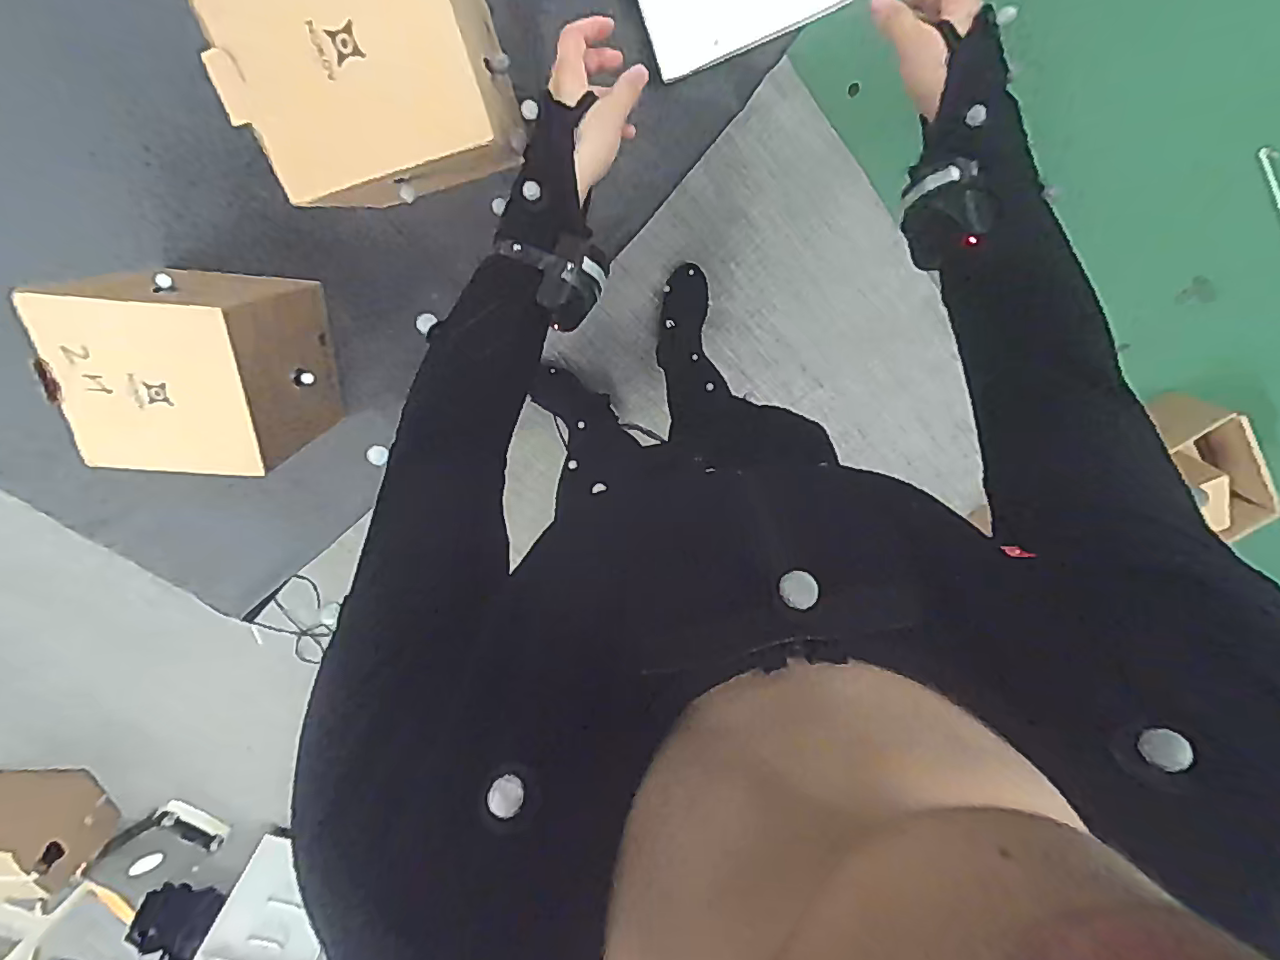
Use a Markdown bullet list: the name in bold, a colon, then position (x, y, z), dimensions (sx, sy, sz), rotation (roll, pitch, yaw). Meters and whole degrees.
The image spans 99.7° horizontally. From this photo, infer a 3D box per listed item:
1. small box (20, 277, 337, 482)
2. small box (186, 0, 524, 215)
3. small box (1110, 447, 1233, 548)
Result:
- **small box**: position (-0.445, -0.112, 0.566), dimensions (0.179, 0.176, 0.168), rotation (4, 117, -2)
- **small box**: position (-0.209, -0.336, 0.450), dimensions (0.179, 0.176, 0.168), rotation (-13, 117, 8)
- **small box**: position (1.401, 0.043, 1.434), dimensions (0.168, 0.176, 0.179), rotation (-25, 116, 13)
